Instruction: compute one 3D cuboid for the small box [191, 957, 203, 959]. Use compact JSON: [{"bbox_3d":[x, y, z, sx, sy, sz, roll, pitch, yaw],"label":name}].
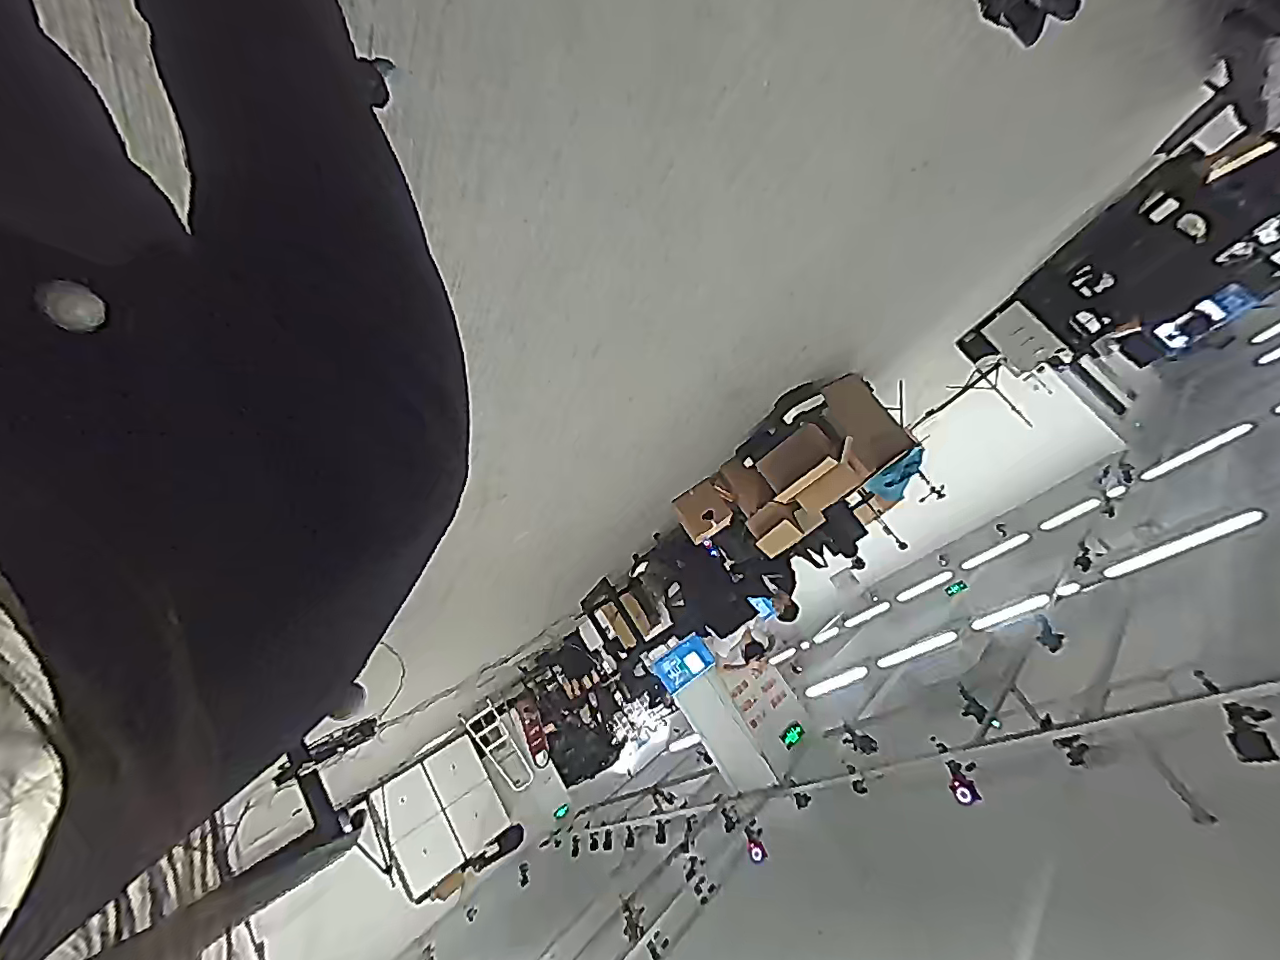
[{"bbox_3d":[-1.335,1.509,1.540,0.179,0.176,0.168,-21,159,-41],"label":"small box"}]
